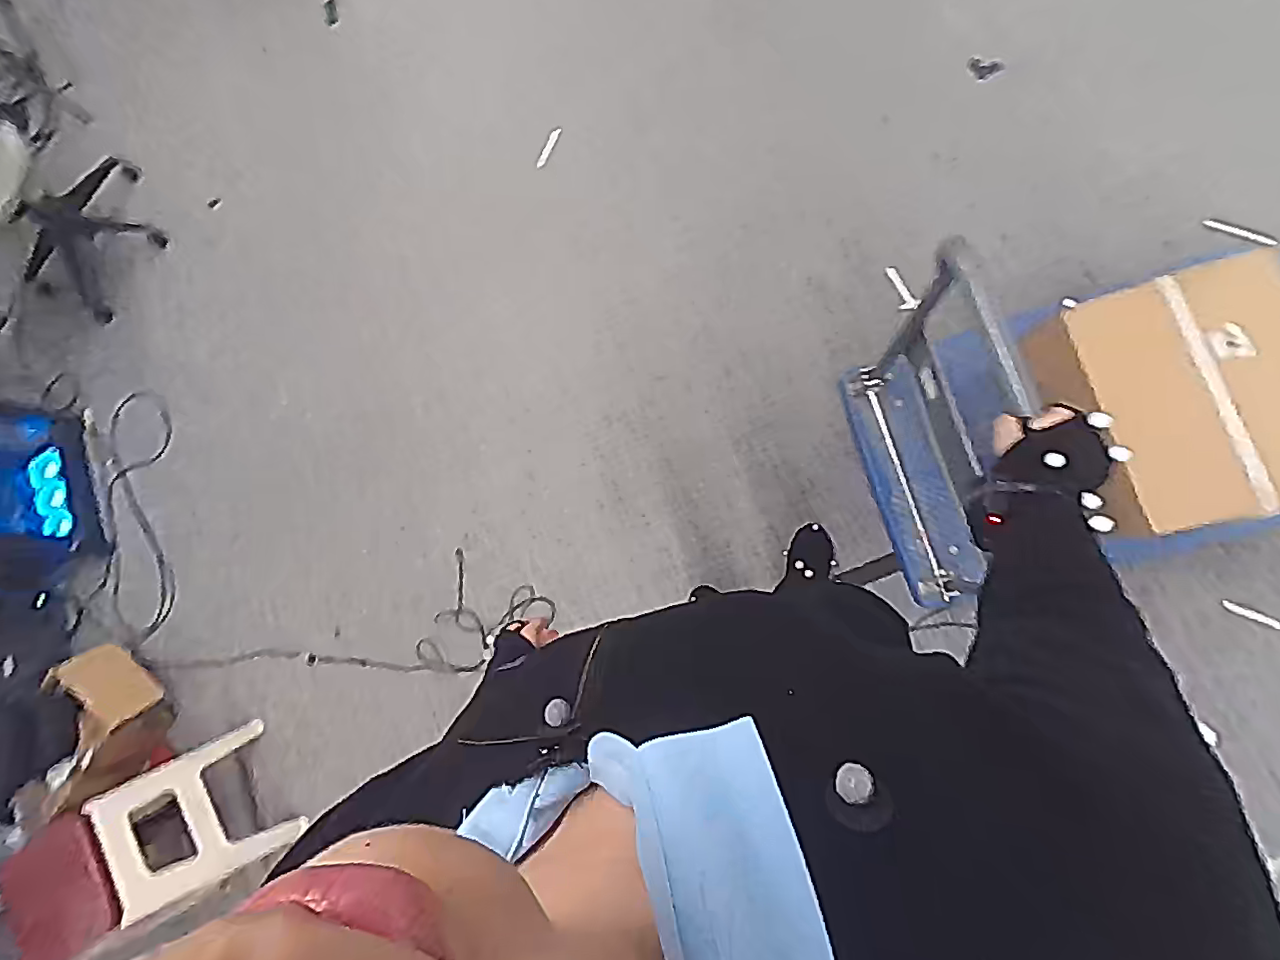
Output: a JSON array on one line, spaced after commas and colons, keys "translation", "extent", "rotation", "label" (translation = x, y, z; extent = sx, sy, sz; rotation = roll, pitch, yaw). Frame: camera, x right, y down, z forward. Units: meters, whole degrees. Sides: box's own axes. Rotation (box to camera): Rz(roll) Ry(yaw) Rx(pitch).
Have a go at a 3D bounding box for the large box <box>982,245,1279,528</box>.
[{"translation": [0.943, -0.145, 1.040], "extent": [0.320, 0.320, 0.408], "rotation": [-17, 79, 9], "label": "large box"}]
